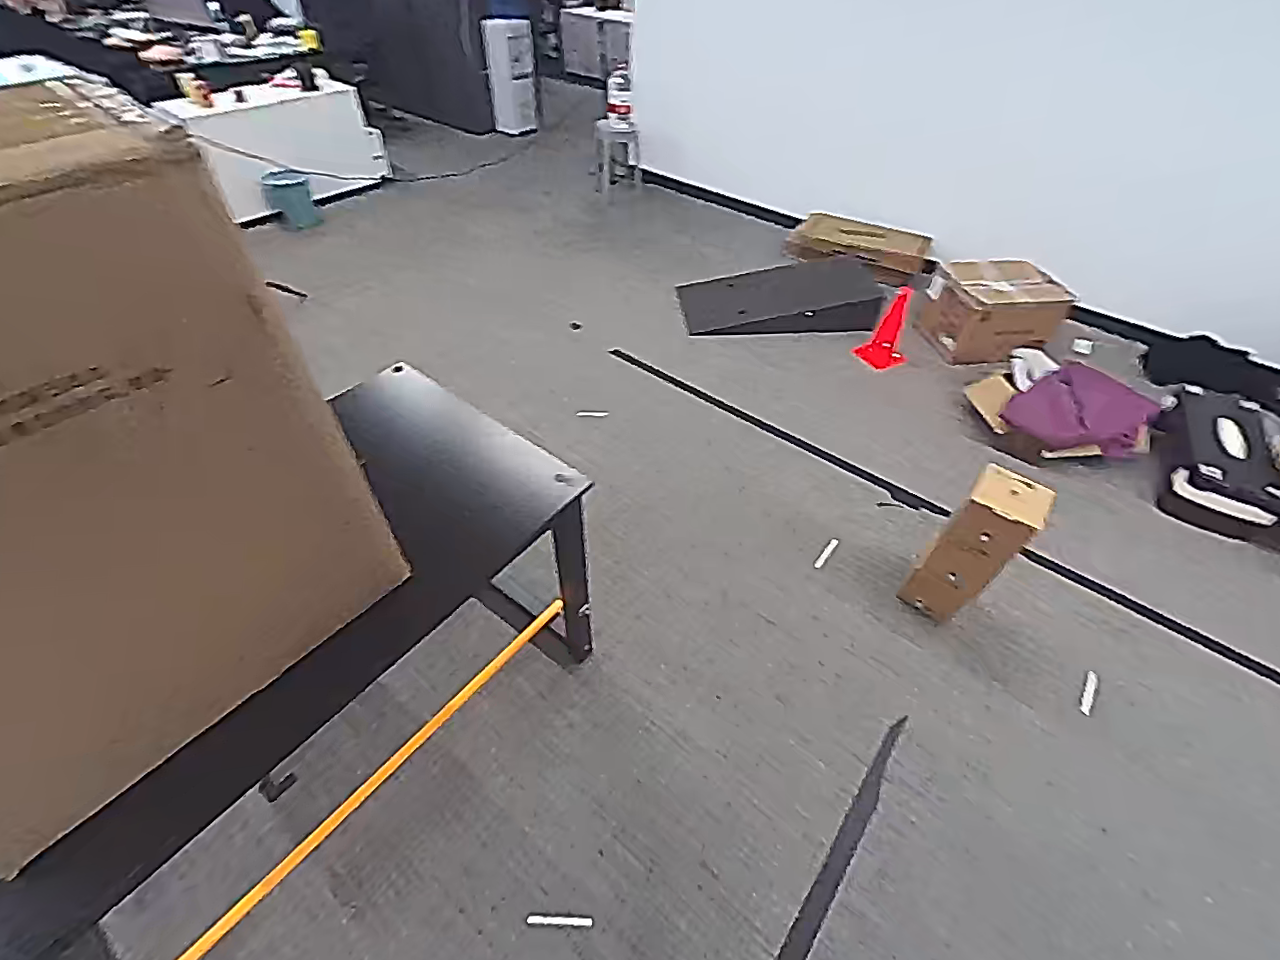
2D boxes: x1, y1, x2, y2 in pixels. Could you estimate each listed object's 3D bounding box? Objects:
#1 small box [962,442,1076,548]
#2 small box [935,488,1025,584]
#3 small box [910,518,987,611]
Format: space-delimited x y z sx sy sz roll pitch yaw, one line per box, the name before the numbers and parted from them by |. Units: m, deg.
small box | 0.959 0.042 1.380 0.168 0.176 0.179 32 54 24
small box | 0.954 0.152 1.501 0.168 0.176 0.179 31 53 24
small box | 0.946 0.255 1.630 0.168 0.176 0.179 31 54 24
